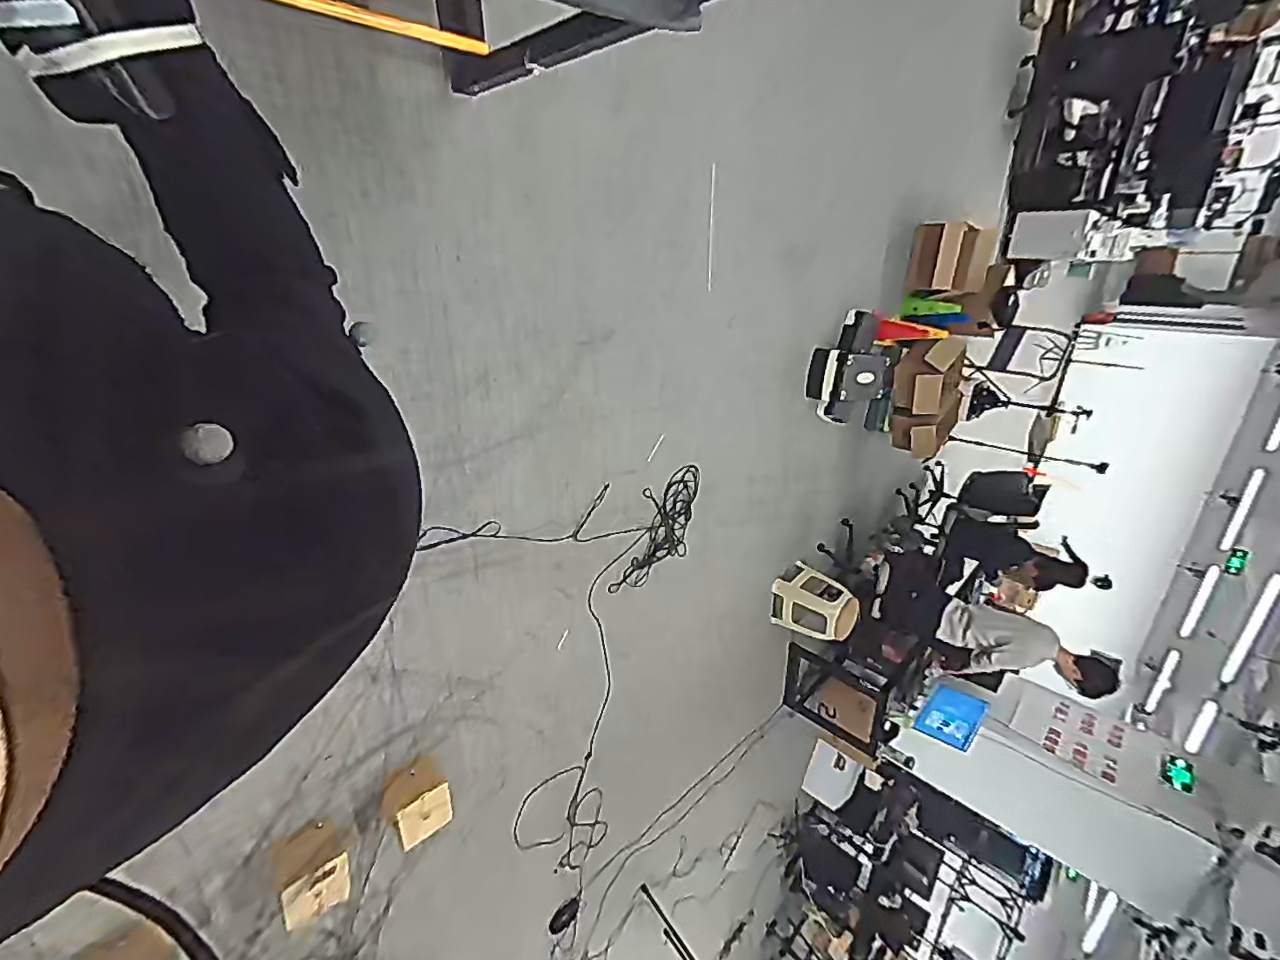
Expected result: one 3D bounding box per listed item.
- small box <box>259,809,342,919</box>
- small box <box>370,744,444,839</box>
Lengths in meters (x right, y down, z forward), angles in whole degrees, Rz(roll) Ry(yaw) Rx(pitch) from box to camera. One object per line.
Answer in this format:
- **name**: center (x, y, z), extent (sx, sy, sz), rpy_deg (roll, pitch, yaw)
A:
- **small box**: center (-0.990, 1.103, 1.577), extent (0.168, 0.176, 0.179), rpy_deg (-12, 116, -44)
- **small box**: center (-0.770, 1.020, 1.787), extent (0.168, 0.176, 0.179), rpy_deg (-20, 120, -42)
